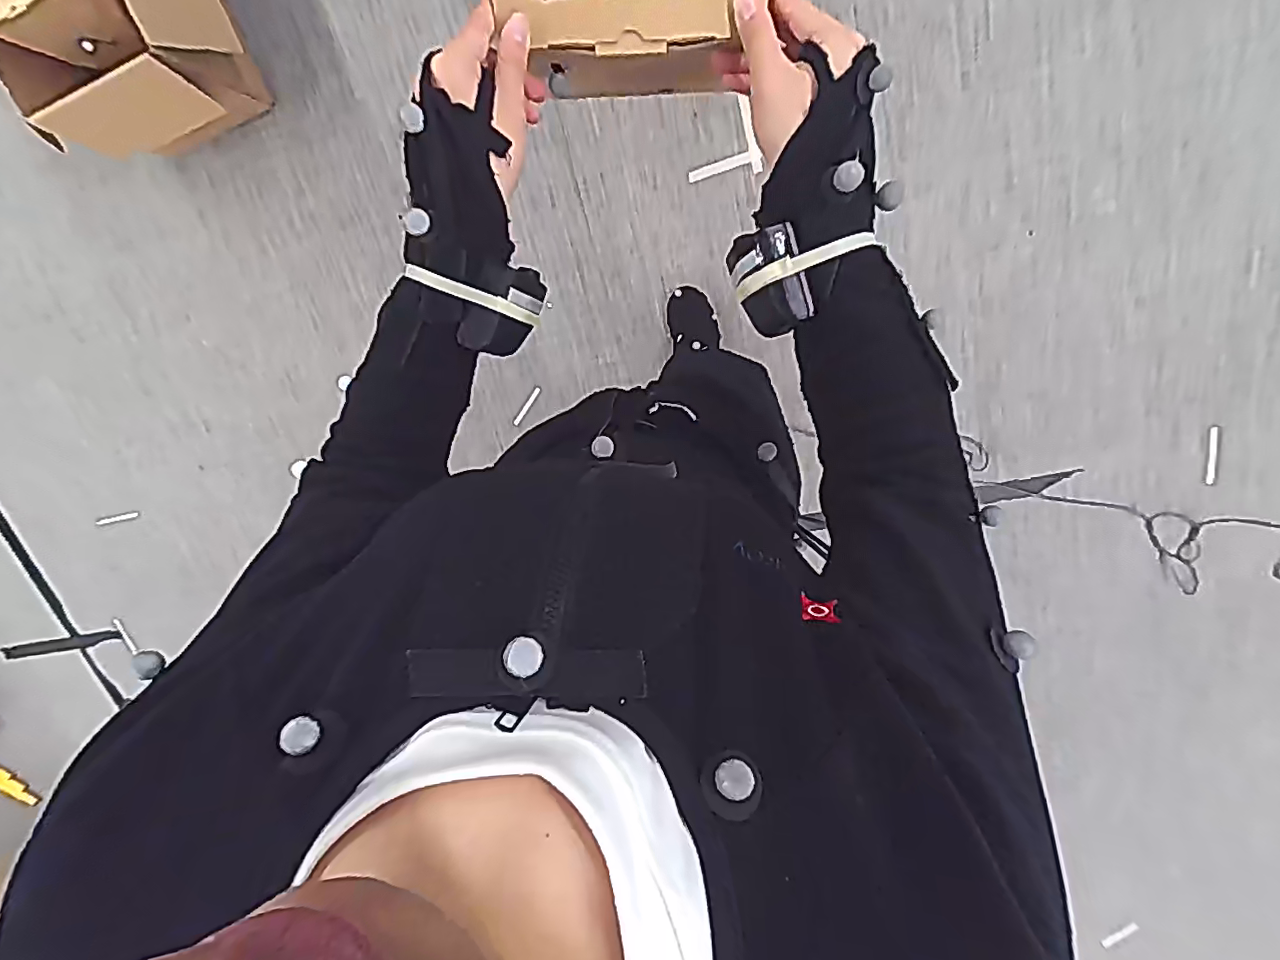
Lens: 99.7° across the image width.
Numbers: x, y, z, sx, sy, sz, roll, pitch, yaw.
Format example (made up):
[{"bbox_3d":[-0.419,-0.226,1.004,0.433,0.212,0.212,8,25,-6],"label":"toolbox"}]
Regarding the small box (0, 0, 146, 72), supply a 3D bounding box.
[{"bbox_3d":[-1.060,-0.882,0.964,0.168,0.176,0.179,-14,107,12],"label":"small box"}]
